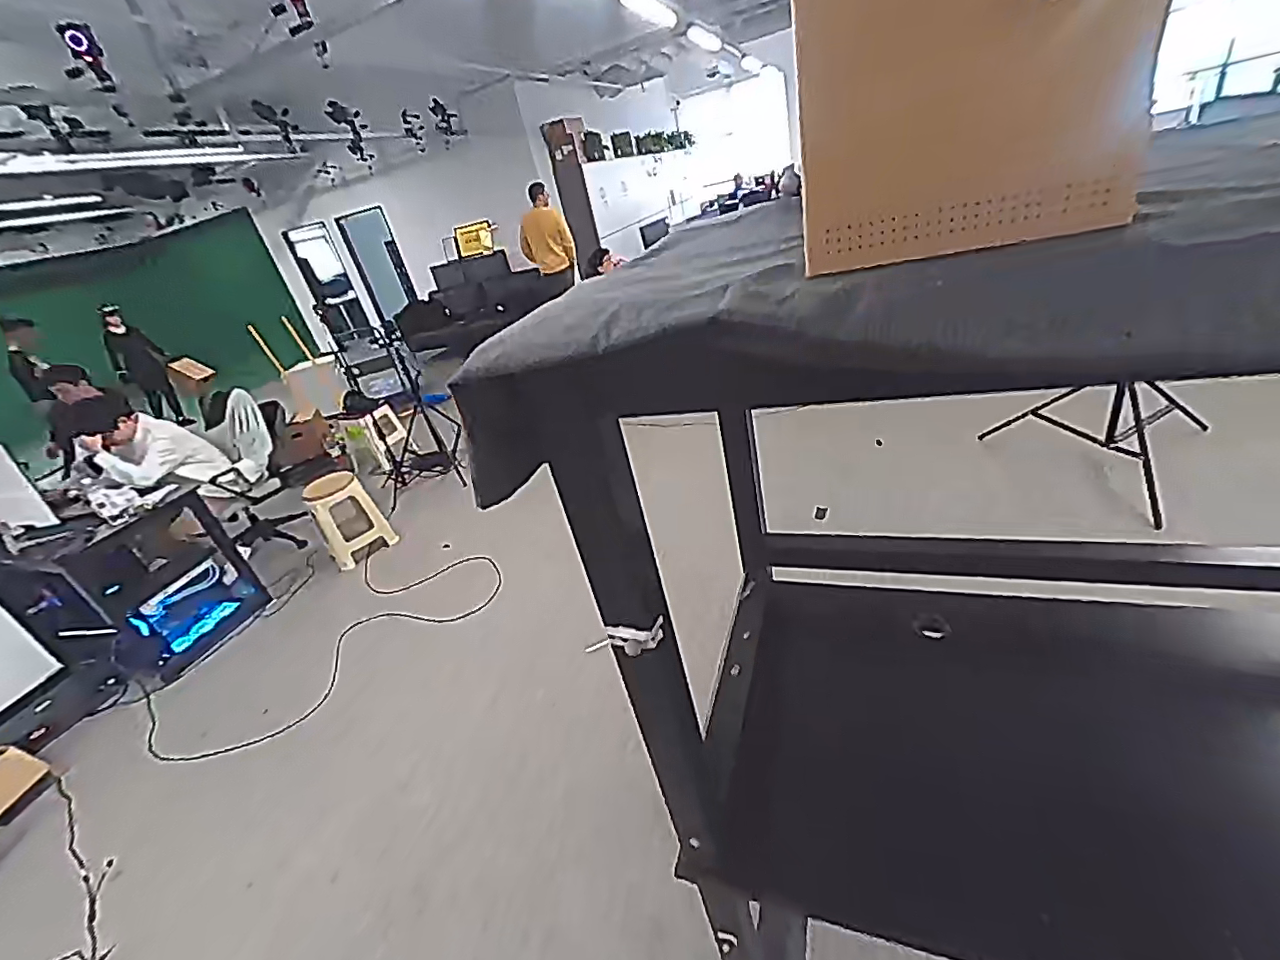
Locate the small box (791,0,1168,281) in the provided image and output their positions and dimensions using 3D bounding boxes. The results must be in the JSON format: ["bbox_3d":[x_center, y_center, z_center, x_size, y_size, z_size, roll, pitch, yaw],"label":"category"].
[{"bbox_3d":[0.197,-0.243,0.357,0.179,0.176,0.168,-3,28,19],"label":"small box"}]
